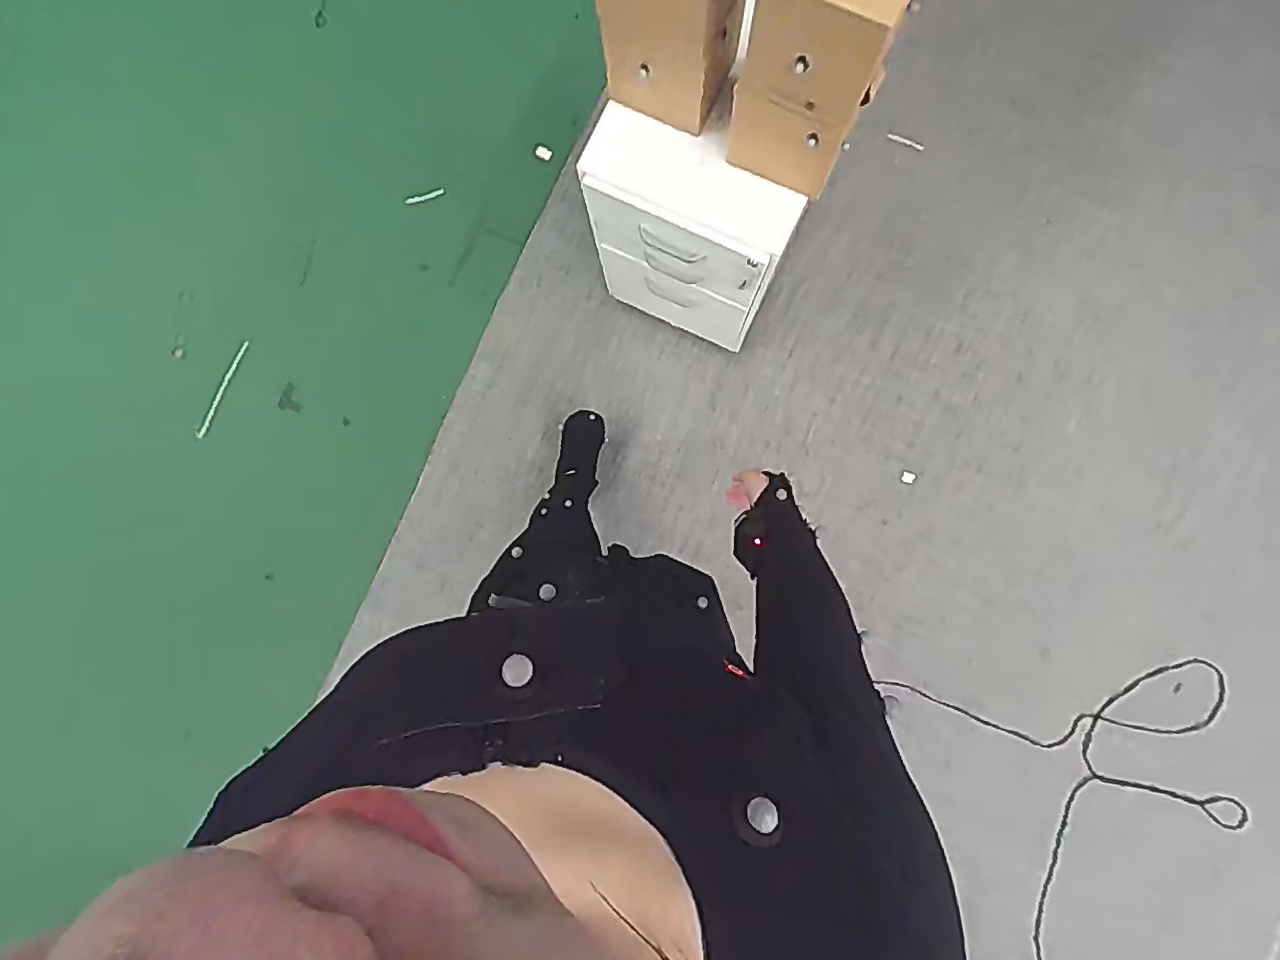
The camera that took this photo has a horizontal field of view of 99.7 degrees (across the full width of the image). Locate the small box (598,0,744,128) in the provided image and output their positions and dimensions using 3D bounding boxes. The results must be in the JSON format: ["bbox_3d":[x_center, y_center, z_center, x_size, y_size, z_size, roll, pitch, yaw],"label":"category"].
[{"bbox_3d":[0.052,-0.717,0.870,0.179,0.176,0.168,25,88,2],"label":"small box"}]

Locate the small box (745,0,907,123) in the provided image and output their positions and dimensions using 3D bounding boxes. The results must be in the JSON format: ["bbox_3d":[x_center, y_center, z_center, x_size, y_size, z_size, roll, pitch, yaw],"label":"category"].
[{"bbox_3d":[0.246,-0.610,0.691,0.168,0.176,0.179,27,88,3],"label":"small box"}]
